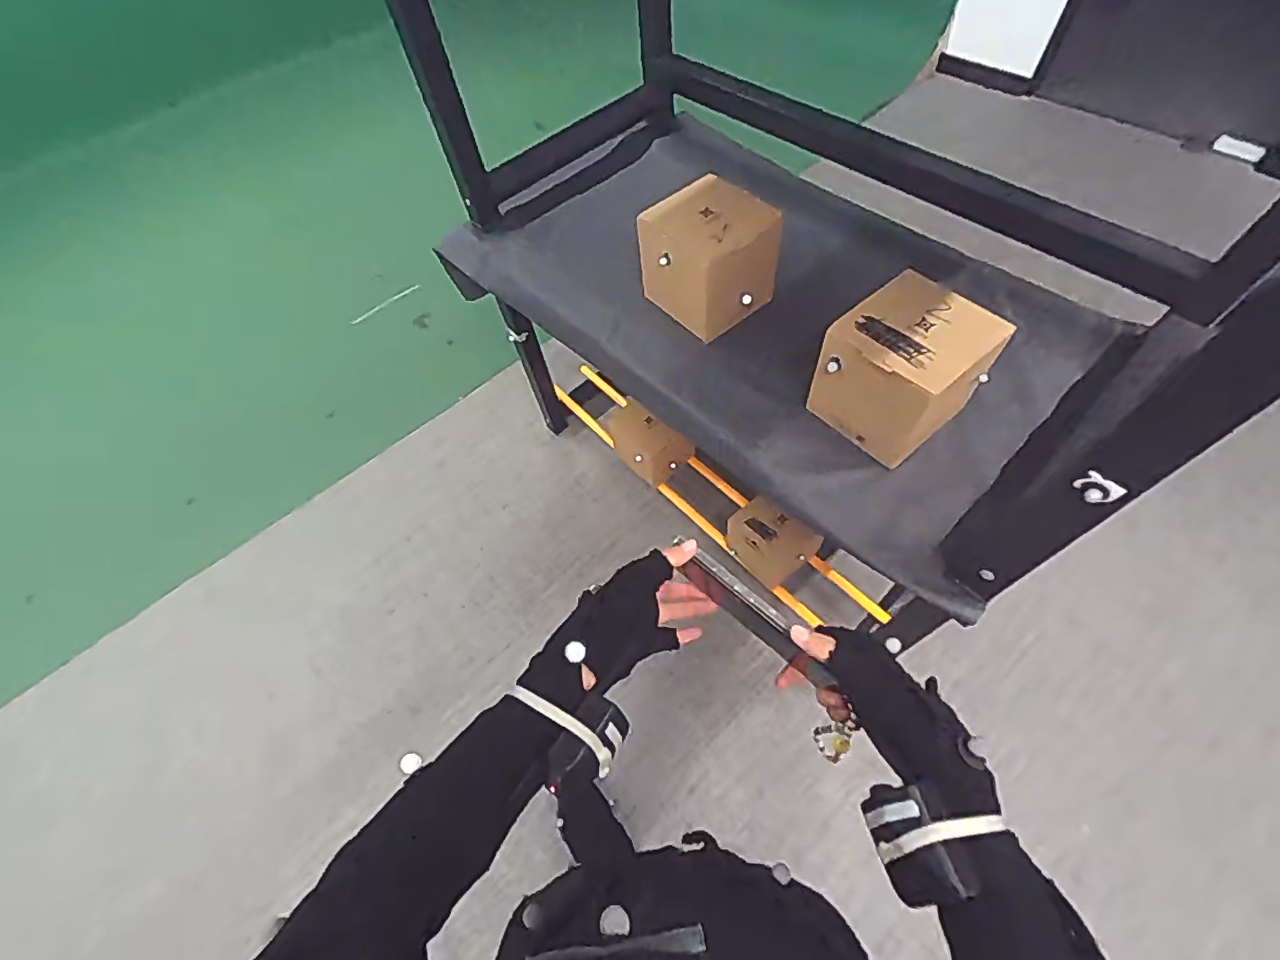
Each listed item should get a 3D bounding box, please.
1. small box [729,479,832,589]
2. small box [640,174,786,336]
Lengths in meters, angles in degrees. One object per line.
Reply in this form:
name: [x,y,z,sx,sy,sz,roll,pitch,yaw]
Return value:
small box: [0.336,0.138,1.324,0.179,0.176,0.168,-37,63,-15]
small box: [0.121,-0.381,0.929,0.168,0.176,0.179,-37,62,-15]
